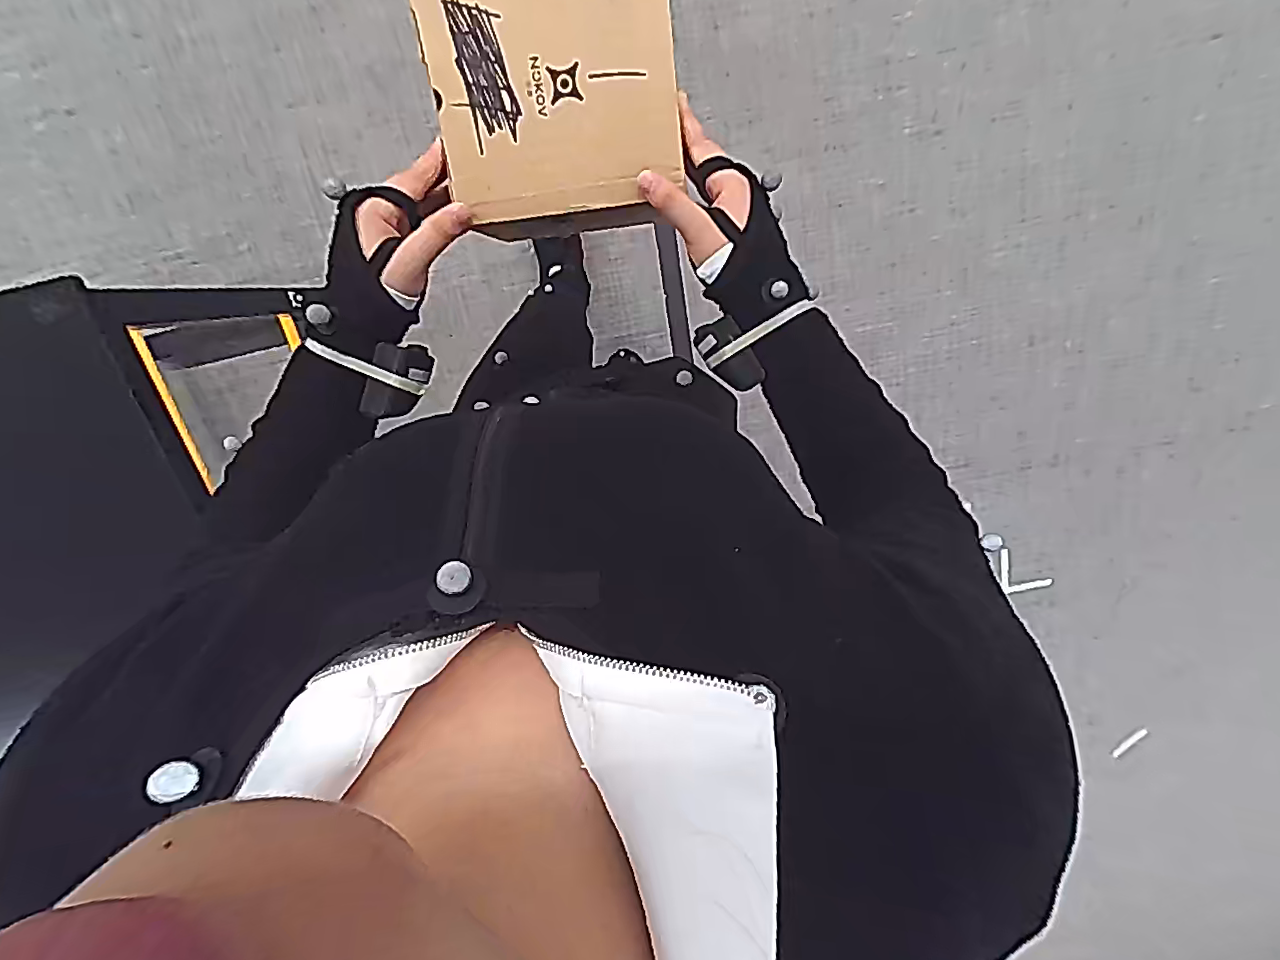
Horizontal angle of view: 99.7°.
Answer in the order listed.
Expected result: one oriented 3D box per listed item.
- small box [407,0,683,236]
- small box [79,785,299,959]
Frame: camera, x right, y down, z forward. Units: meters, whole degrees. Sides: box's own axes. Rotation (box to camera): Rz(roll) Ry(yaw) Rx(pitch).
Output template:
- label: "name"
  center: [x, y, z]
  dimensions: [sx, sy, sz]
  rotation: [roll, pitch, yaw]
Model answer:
- label: "small box"
  center: [-0.063, -0.305, 0.446]
  dimensions: [0.179, 0.176, 0.168]
  rotation: [-7, 110, 1]
- label: "small box"
  center: [-0.698, 0.624, 0.862]
  dimensions: [0.179, 0.176, 0.168]
  rotation: [-11, 110, 3]
